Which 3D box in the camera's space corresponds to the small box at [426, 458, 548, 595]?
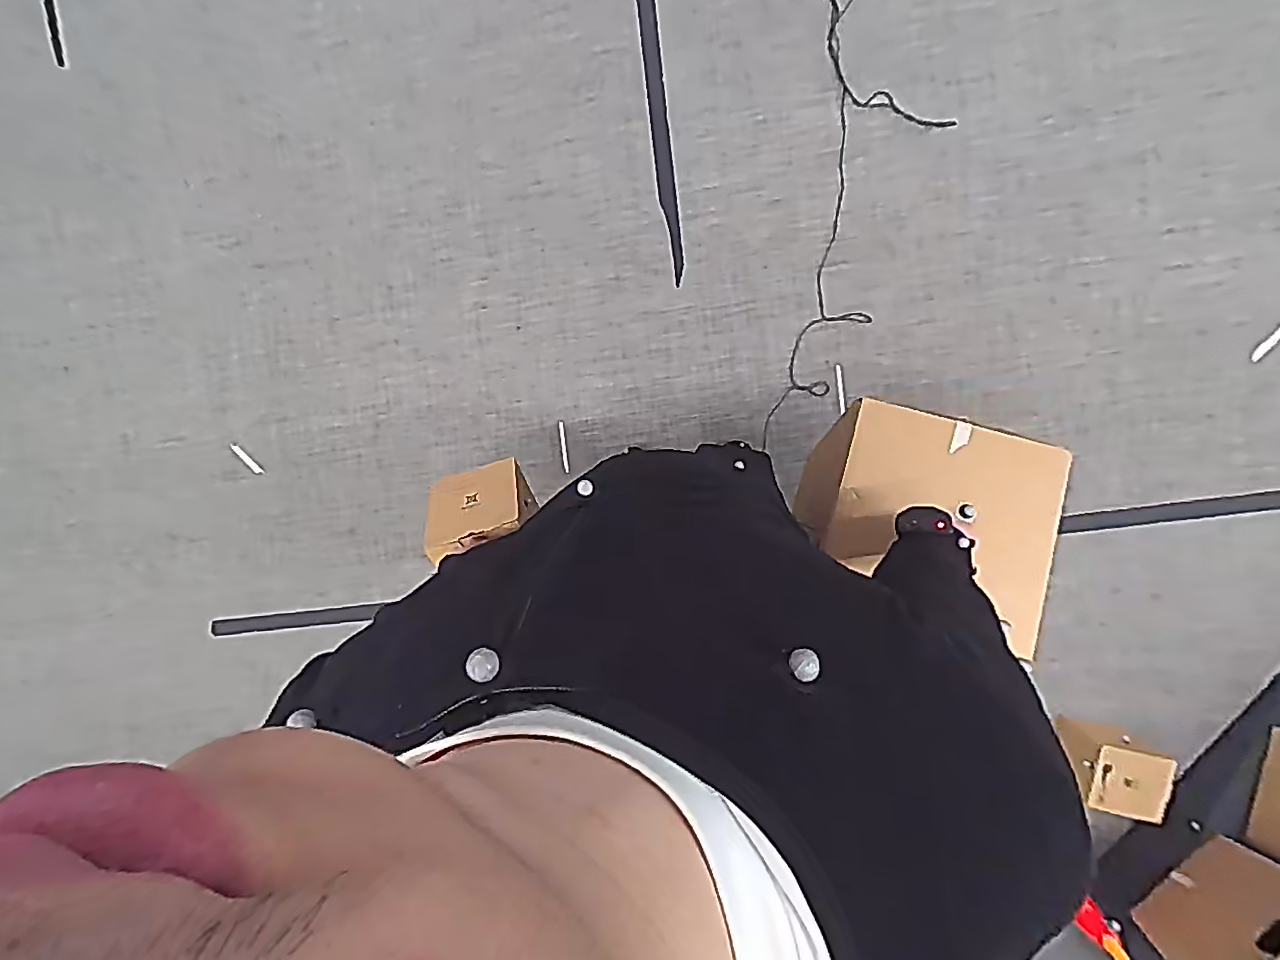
[{"bbox_3d":[-0.279,0.094,1.010,0.168,0.179,0.176,-17,133,-2],"label":"small box"}]
